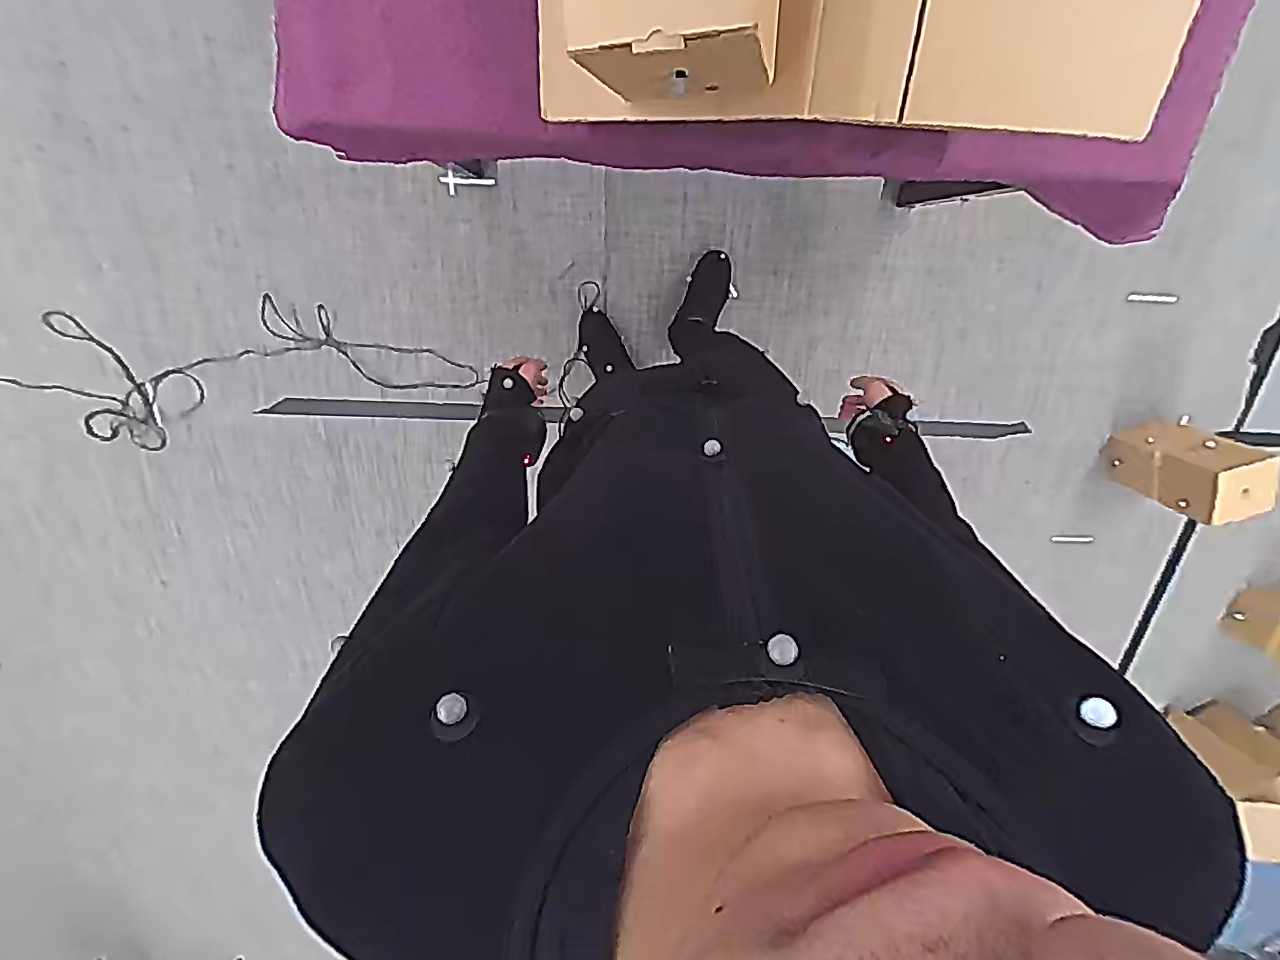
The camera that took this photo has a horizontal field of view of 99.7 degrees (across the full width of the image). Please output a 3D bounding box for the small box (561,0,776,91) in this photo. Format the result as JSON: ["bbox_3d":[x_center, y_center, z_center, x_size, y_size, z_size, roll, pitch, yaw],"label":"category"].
[{"bbox_3d":[0.035,-0.470,0.482,0.168,0.176,0.179,6,114,15],"label":"small box"}]
